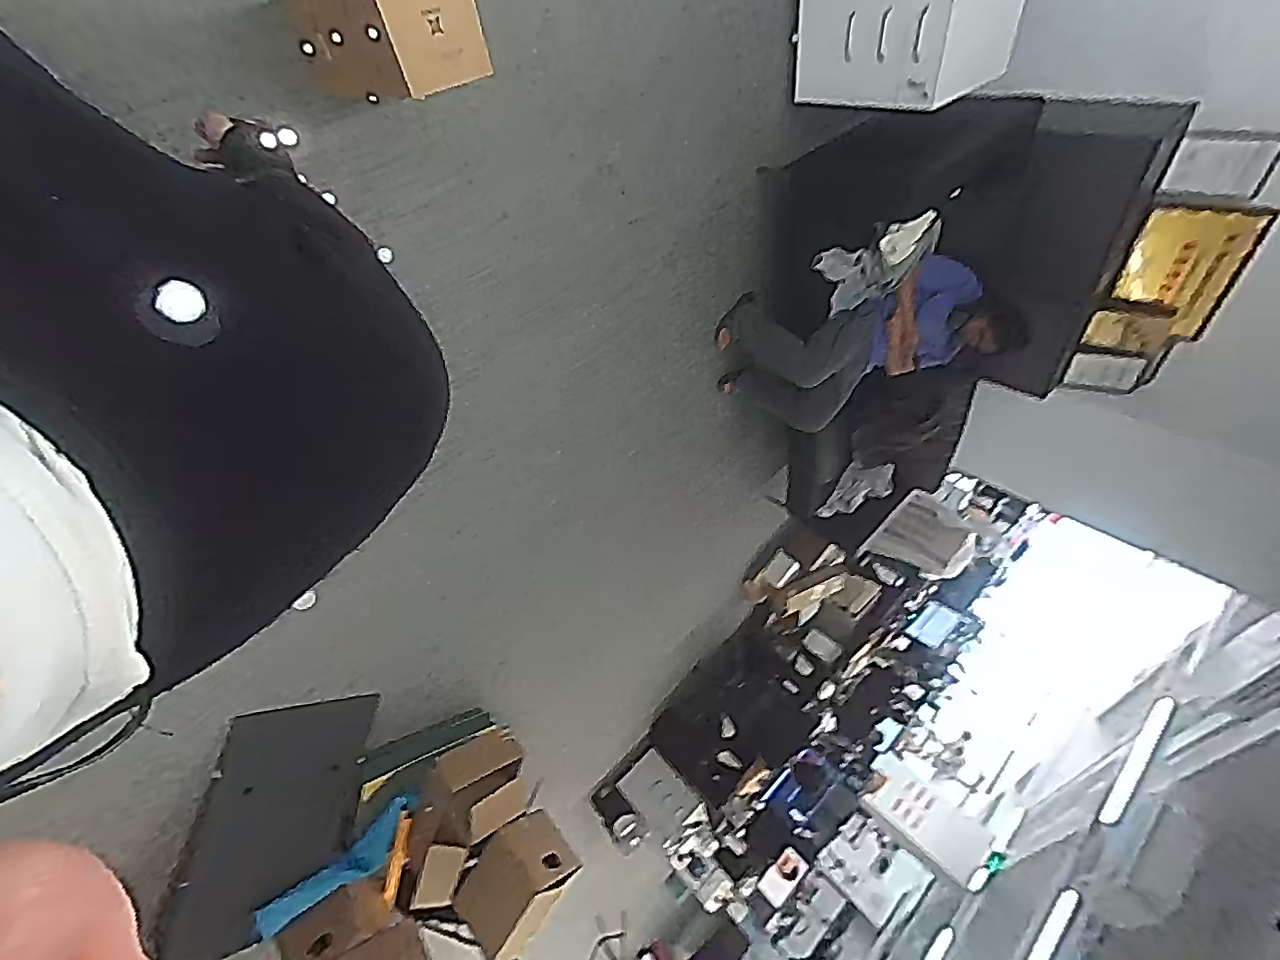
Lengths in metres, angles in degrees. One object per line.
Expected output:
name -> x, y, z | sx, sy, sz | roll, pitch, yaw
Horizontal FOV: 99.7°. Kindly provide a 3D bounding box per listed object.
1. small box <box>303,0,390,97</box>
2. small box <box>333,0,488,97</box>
small box -> -0.503, -0.857, 1.025 | 0.168, 0.176, 0.179 | -39, 141, -22
small box -> -0.399, -0.785, 0.926 | 0.168, 0.176, 0.179 | -38, 142, -22
